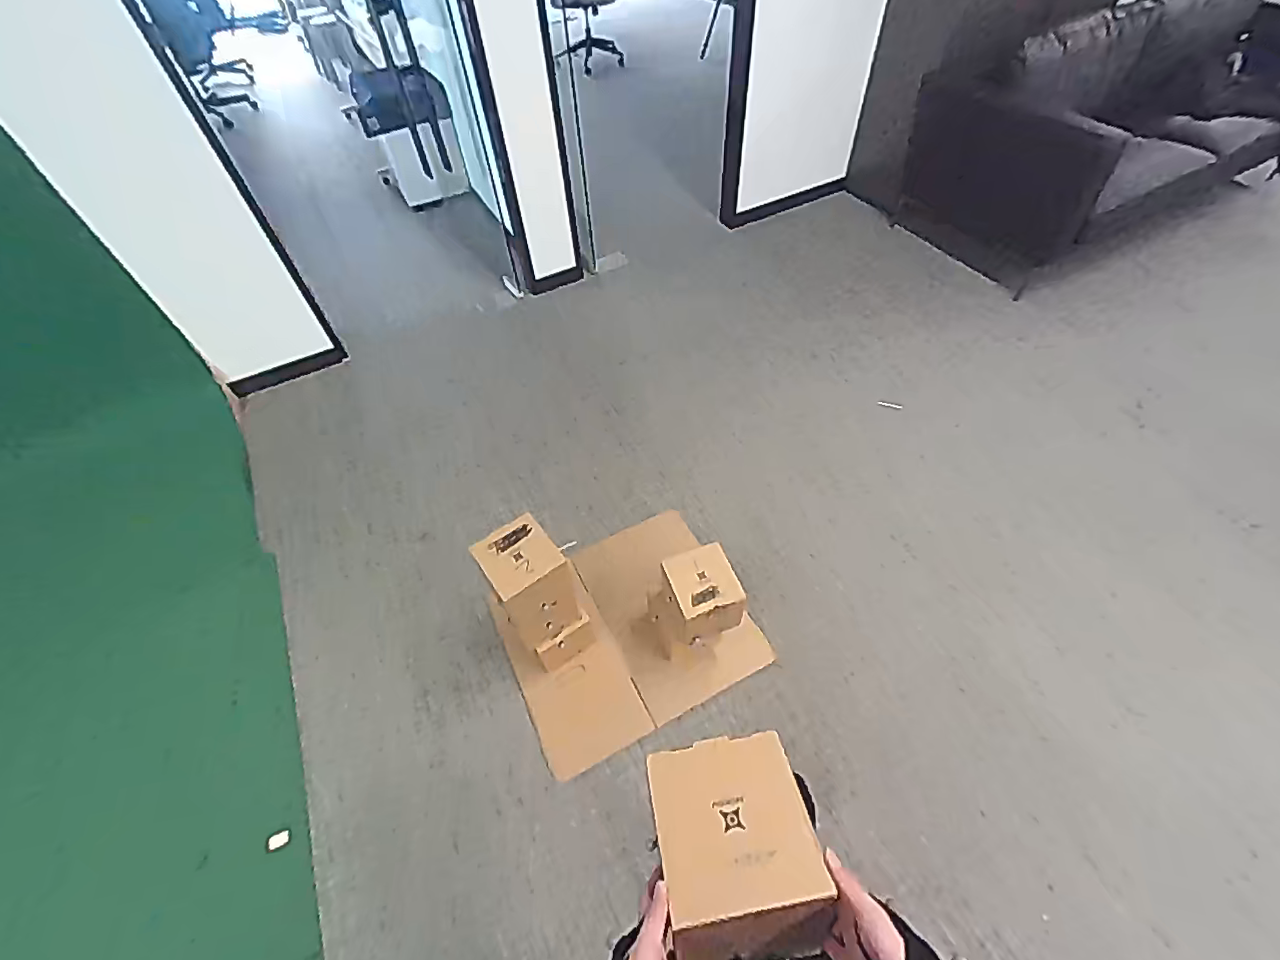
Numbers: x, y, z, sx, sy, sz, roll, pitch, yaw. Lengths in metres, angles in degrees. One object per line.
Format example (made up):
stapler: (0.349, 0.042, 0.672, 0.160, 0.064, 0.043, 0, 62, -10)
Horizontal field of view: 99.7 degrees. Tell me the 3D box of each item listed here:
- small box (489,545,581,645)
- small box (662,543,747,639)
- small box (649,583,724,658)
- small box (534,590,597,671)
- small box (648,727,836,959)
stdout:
small box: (-0.273, 0.313, 1.437, 0.168, 0.176, 0.179, -29, 55, -19)
small box: (0.166, 0.298, 1.417, 0.168, 0.176, 0.179, -16, 52, -9)
small box: (0.136, 0.391, 1.556, 0.168, 0.176, 0.179, -20, 53, -11)
small box: (-0.241, 0.416, 1.563, 0.168, 0.176, 0.179, -31, 56, -19)
small box: (0.105, 0.425, 0.629, 0.168, 0.176, 0.179, -9, 34, -4)
